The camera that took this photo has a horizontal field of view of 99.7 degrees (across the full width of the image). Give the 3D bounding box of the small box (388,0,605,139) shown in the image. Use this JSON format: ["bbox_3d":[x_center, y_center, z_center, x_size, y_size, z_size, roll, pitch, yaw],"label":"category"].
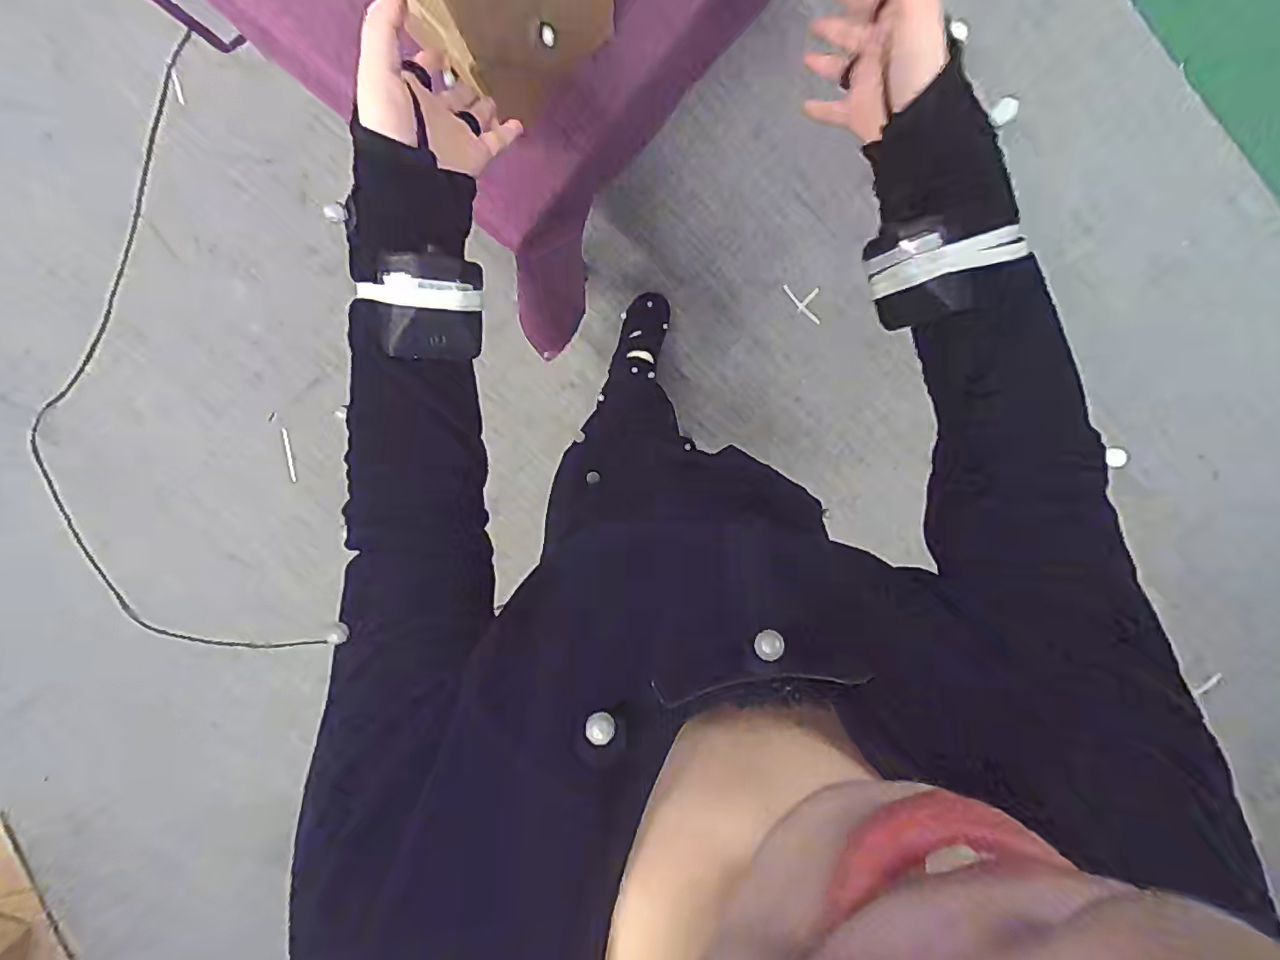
[{"bbox_3d":[-0.147,-0.491,0.539,0.179,0.176,0.168,-42,100,7],"label":"small box"}]
